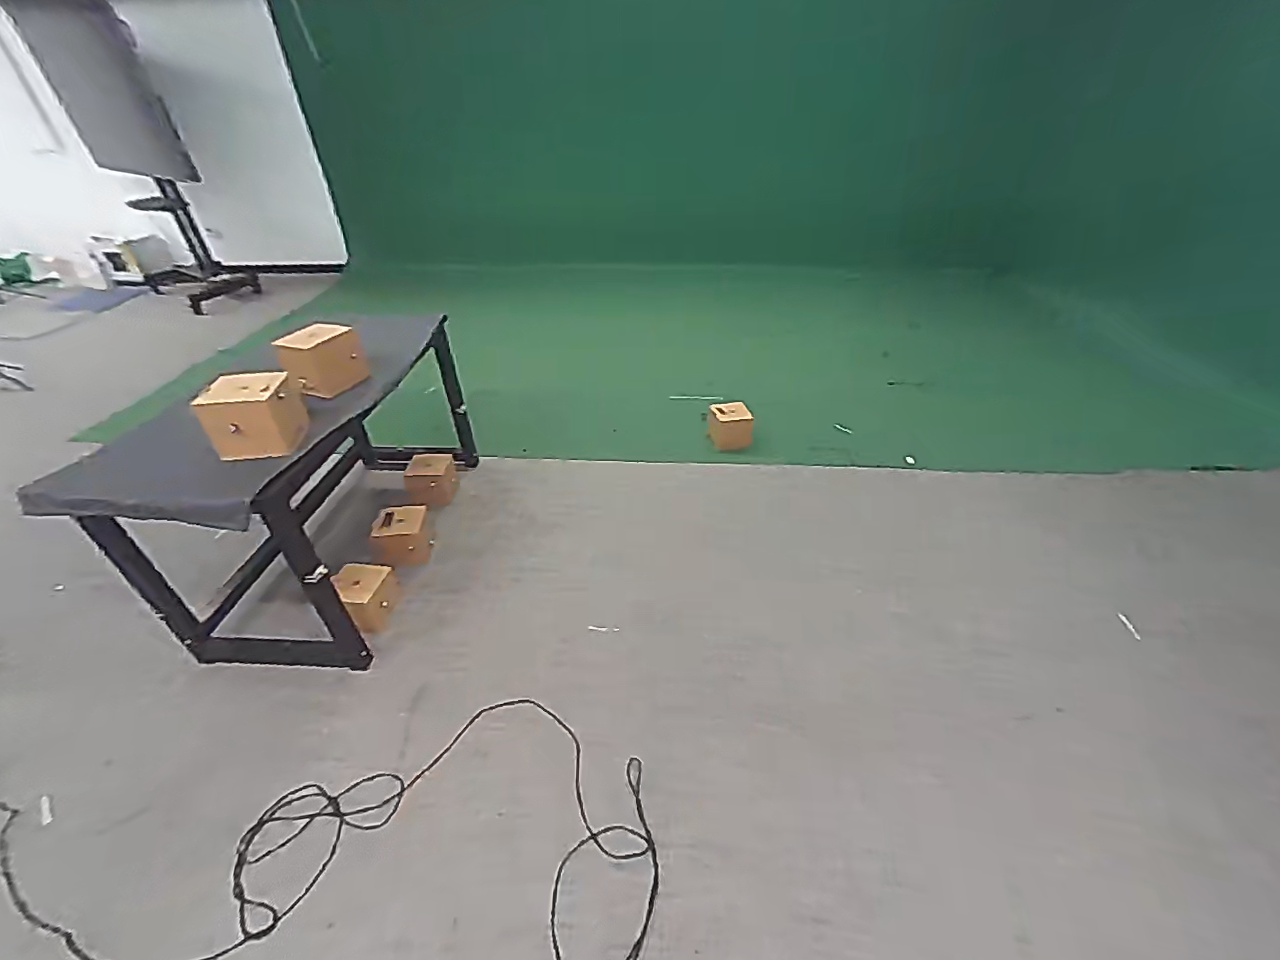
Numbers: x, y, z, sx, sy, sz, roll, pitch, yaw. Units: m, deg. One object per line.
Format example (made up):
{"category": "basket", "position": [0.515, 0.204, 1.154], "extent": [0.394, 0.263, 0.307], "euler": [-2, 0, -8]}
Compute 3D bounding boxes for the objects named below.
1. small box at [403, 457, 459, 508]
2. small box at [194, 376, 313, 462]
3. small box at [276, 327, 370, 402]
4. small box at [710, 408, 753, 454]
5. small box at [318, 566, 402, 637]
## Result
{"category": "small box", "position": [-0.925, 0.012, 2.413], "extent": [0.179, 0.176, 0.168], "euler": [-1, 36, 0]}
{"category": "small box", "position": [-1.010, -0.160, 1.432], "extent": [0.179, 0.176, 0.168], "euler": [-6, 37, -6]}
{"category": "small box", "position": [-0.989, -0.368, 1.710], "extent": [0.168, 0.176, 0.179], "euler": [12, 40, 22]}
{"category": "small box", "position": [0.453, -0.242, 2.710], "extent": [0.179, 0.176, 0.168], "euler": [-7, 37, -9]}
{"category": "small box", "position": [-0.958, 0.423, 1.872], "extent": [0.179, 0.176, 0.168], "euler": [4, 38, 8]}
